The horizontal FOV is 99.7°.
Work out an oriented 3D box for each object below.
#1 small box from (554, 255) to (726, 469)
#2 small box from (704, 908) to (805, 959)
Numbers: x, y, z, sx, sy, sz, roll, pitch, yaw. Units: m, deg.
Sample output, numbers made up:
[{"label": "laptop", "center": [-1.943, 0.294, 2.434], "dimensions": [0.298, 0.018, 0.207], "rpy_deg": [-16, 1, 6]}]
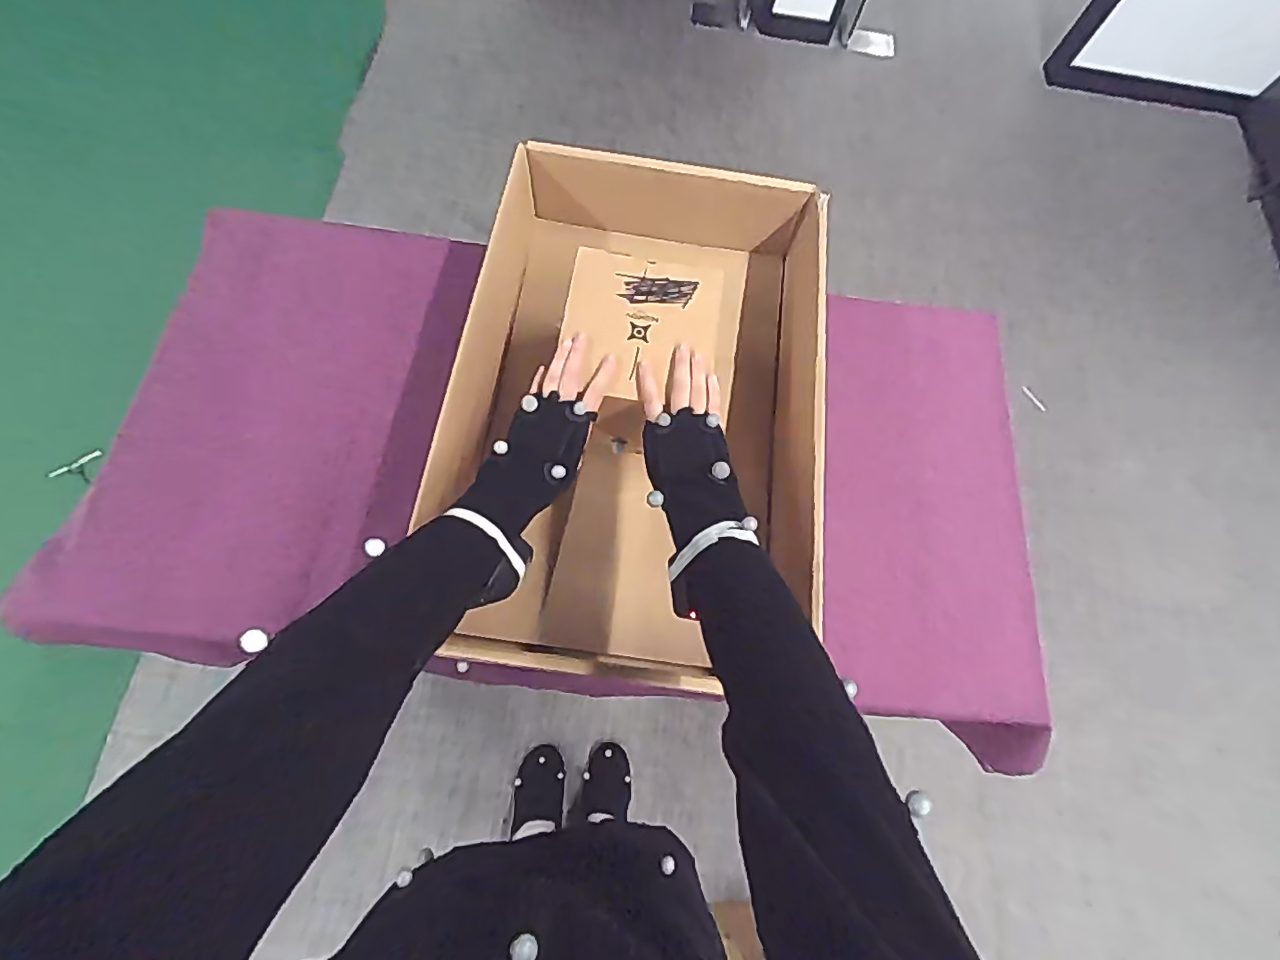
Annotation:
[{"label": "small box", "center": [-0.002, -0.131, 0.647], "dimensions": [0.168, 0.176, 0.179], "rpy_deg": [9, 73, -1]}, {"label": "small box", "center": [0.227, 1.003, 1.100], "dimensions": [0.179, 0.176, 0.168], "rpy_deg": [3, 70, -5]}]
